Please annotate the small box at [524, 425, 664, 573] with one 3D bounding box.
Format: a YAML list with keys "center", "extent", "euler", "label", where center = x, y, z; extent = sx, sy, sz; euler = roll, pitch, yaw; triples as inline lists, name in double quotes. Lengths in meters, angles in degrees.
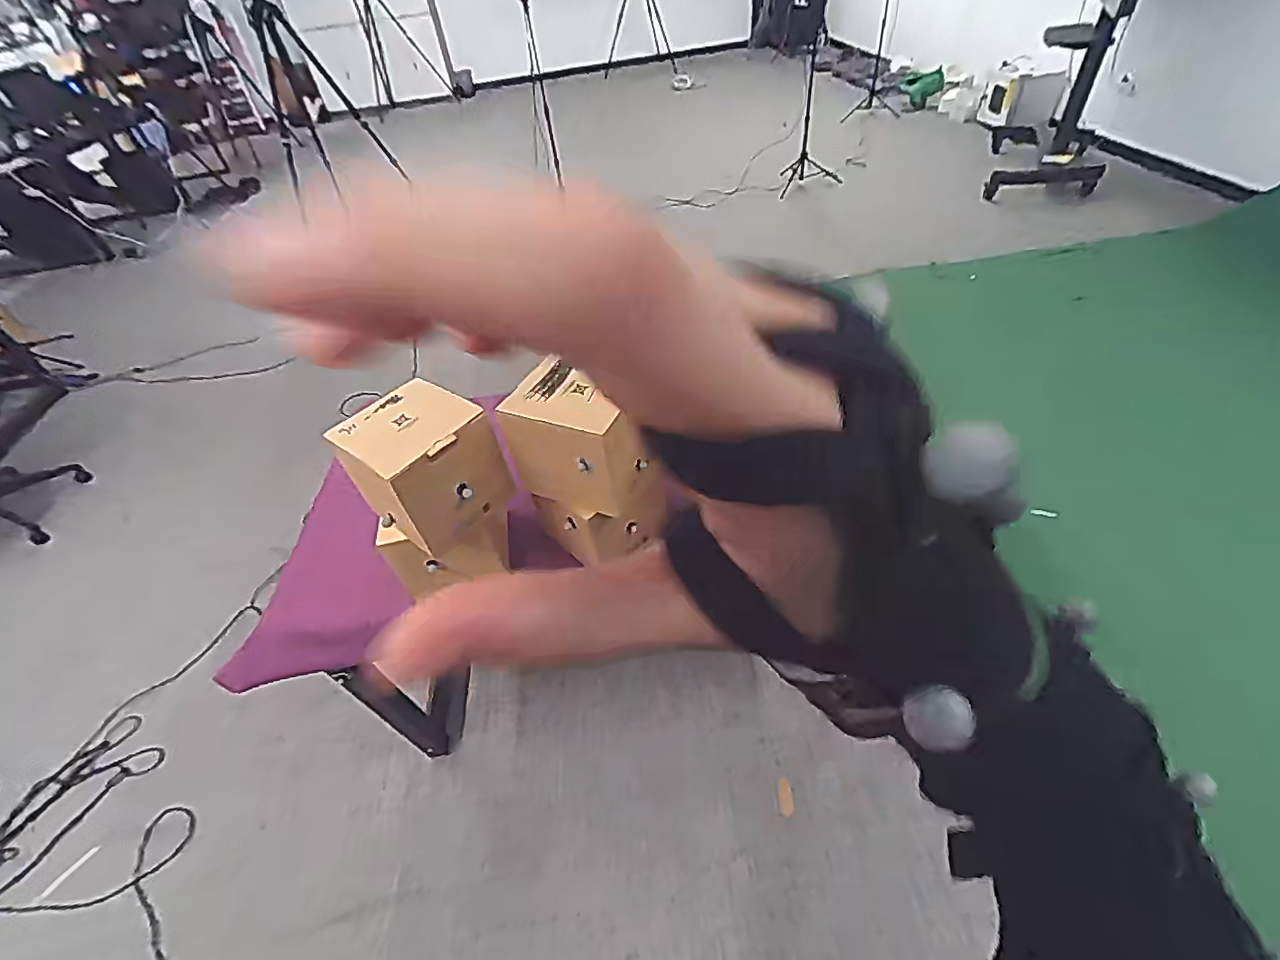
- center: [-0.073, 0.038, 0.953]
  extent: [0.168, 0.176, 0.179]
  euler: [-36, 51, -26]
  label: "small box"

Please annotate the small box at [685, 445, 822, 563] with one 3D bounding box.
- center: [0.187, 0.010, 0.945]
  extent: [0.179, 0.176, 0.168]
  euler: [-25, 46, -15]
  label: "small box"

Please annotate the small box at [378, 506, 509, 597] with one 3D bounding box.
- center: [-0.333, 0.085, 0.949]
  extent: [0.168, 0.176, 0.179]
  euler: [-13, 44, -5]
  label: "small box"

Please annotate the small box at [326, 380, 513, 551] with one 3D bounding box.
- center: [-0.320, -0.019, 0.818]
  extent: [0.179, 0.176, 0.168]
  euler: [26, 53, 30]
  label: "small box"
